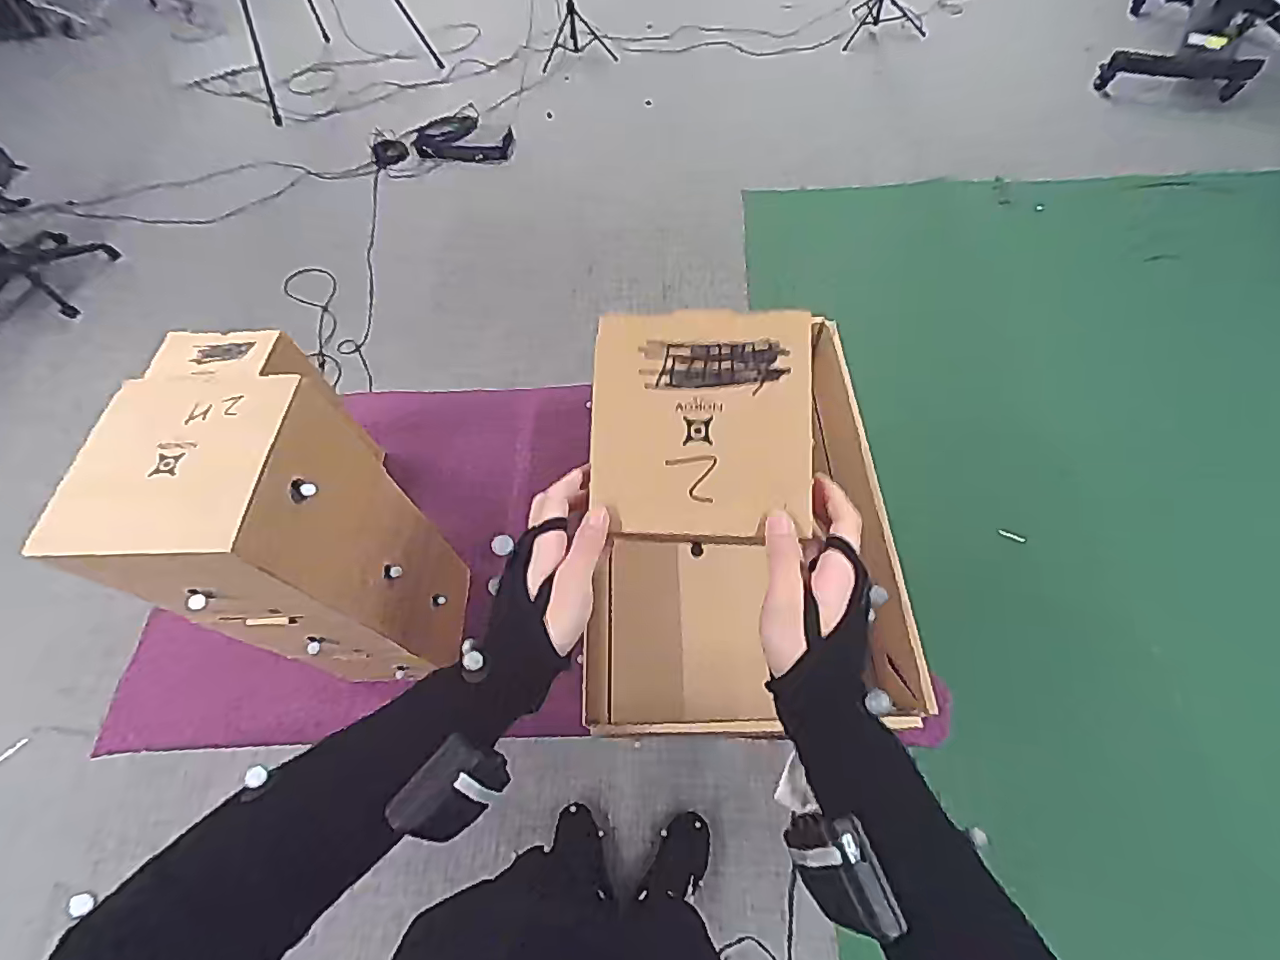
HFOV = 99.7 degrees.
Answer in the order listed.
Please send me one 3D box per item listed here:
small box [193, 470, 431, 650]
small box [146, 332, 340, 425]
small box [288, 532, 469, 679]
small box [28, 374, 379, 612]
[{"bbox_3d":[-0.374,0.105,0.658,0.168,0.176,0.179,-2,60,1],"label":"small box"},{"bbox_3d":[-0.572,-0.092,0.784,0.168,0.176,0.179,0,61,4],"label":"small box"},{"bbox_3d":[-0.367,0.191,0.797,0.168,0.176,0.179,-2,59,2],"label":"small box"},{"bbox_3d":[-0.378,0.021,0.516,0.168,0.176,0.179,0,59,2],"label":"small box"}]
